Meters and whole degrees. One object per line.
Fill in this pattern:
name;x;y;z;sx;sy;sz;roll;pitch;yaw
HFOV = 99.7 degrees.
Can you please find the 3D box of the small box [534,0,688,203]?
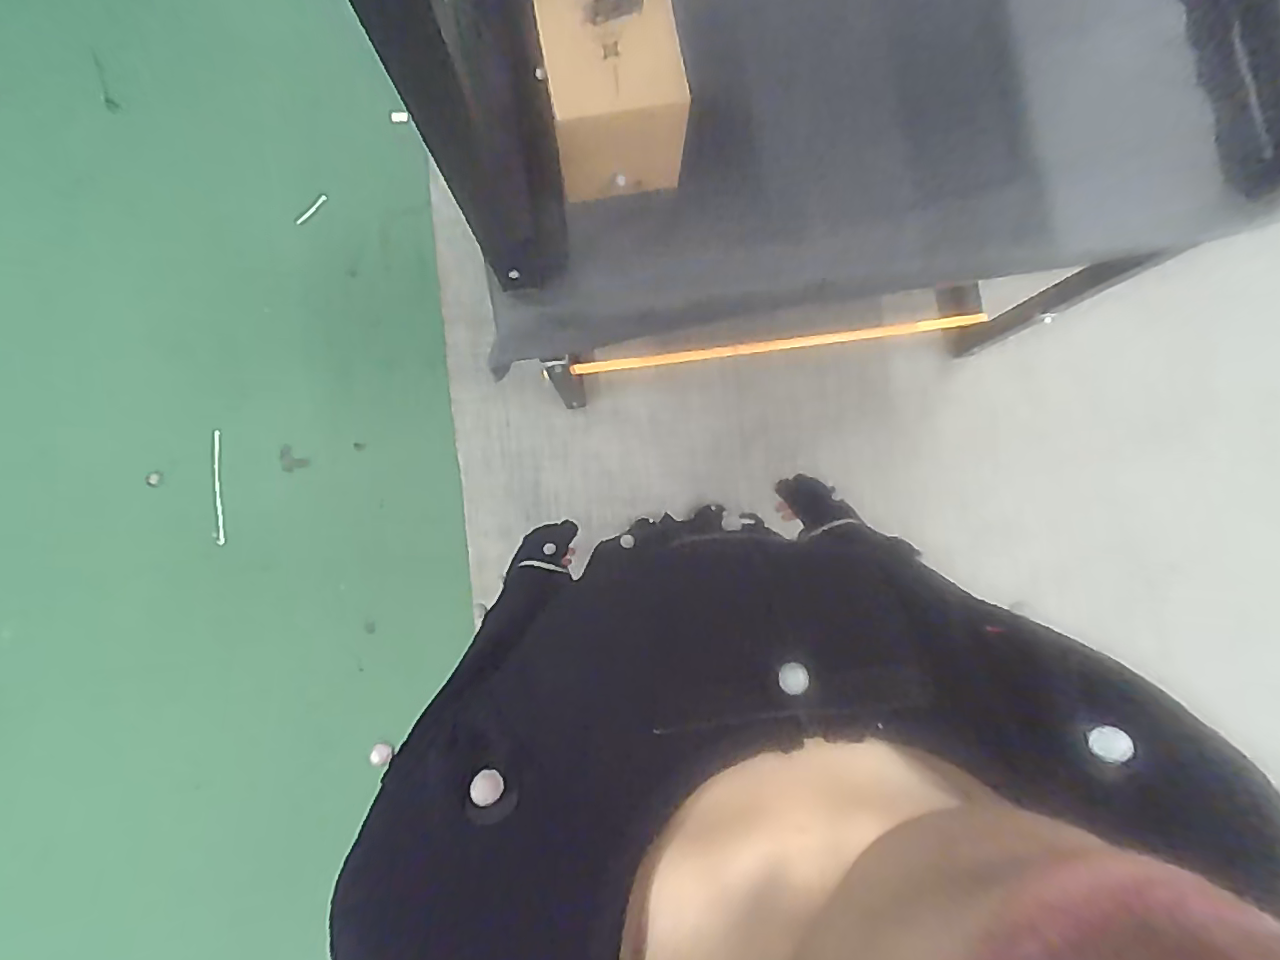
small box;-0.039;-0.512;0.729;0.168;0.176;0.179;-10;86;-2
